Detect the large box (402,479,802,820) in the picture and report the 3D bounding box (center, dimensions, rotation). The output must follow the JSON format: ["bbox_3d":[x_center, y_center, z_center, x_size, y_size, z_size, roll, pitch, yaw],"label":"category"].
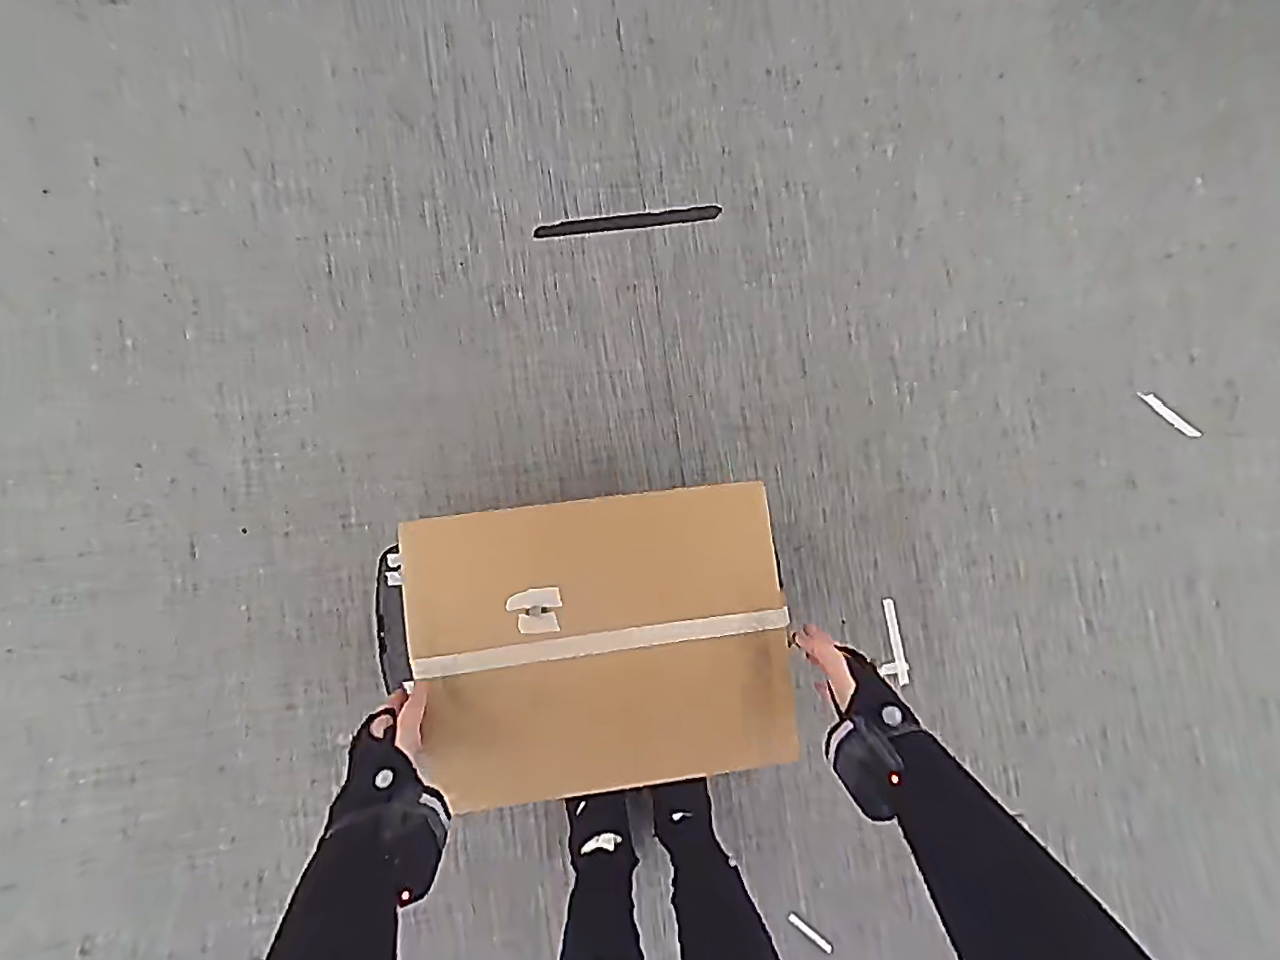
[{"bbox_3d":[-0.046,0.185,0.727,0.408,0.320,0.320,-7,86,-3],"label":"large box"}]

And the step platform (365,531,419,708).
[{"bbox_3d":[-0.112,0.226,0.960,0.684,0.204,0.286,-1,86,-3],"label":"step platform"}]
